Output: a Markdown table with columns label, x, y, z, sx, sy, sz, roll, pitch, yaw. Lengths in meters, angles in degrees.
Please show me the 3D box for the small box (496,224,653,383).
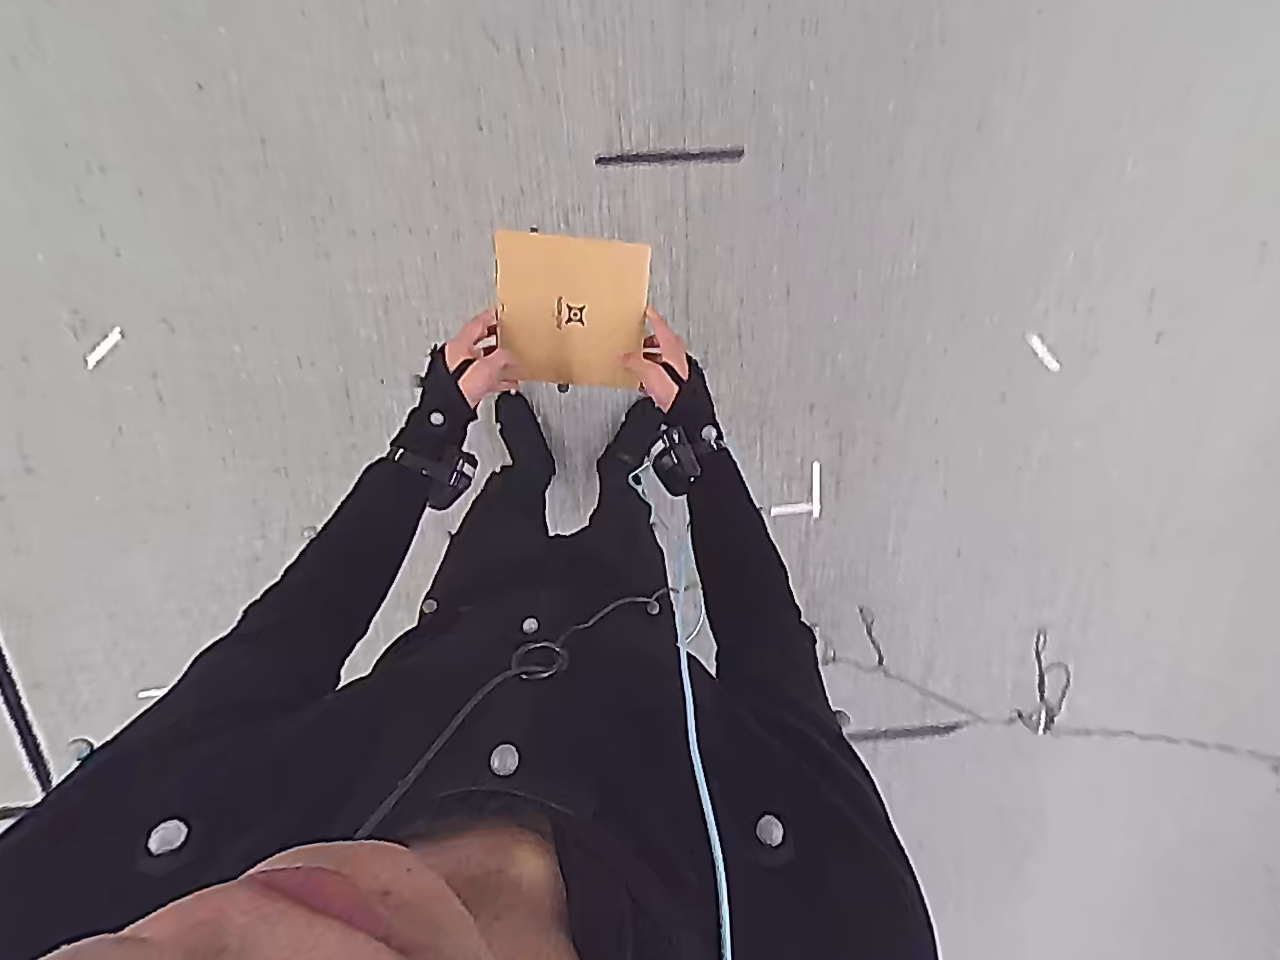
| label | x | y | z | sx | sy | sz | roll | pitch | yaw |
| --- | --- | --- | --- | --- | --- | --- | --- | --- | --- |
| small box | -0.083 | -0.227 | 0.698 | 0.179 | 0.176 | 0.168 | 3 | 111 | -5 |
